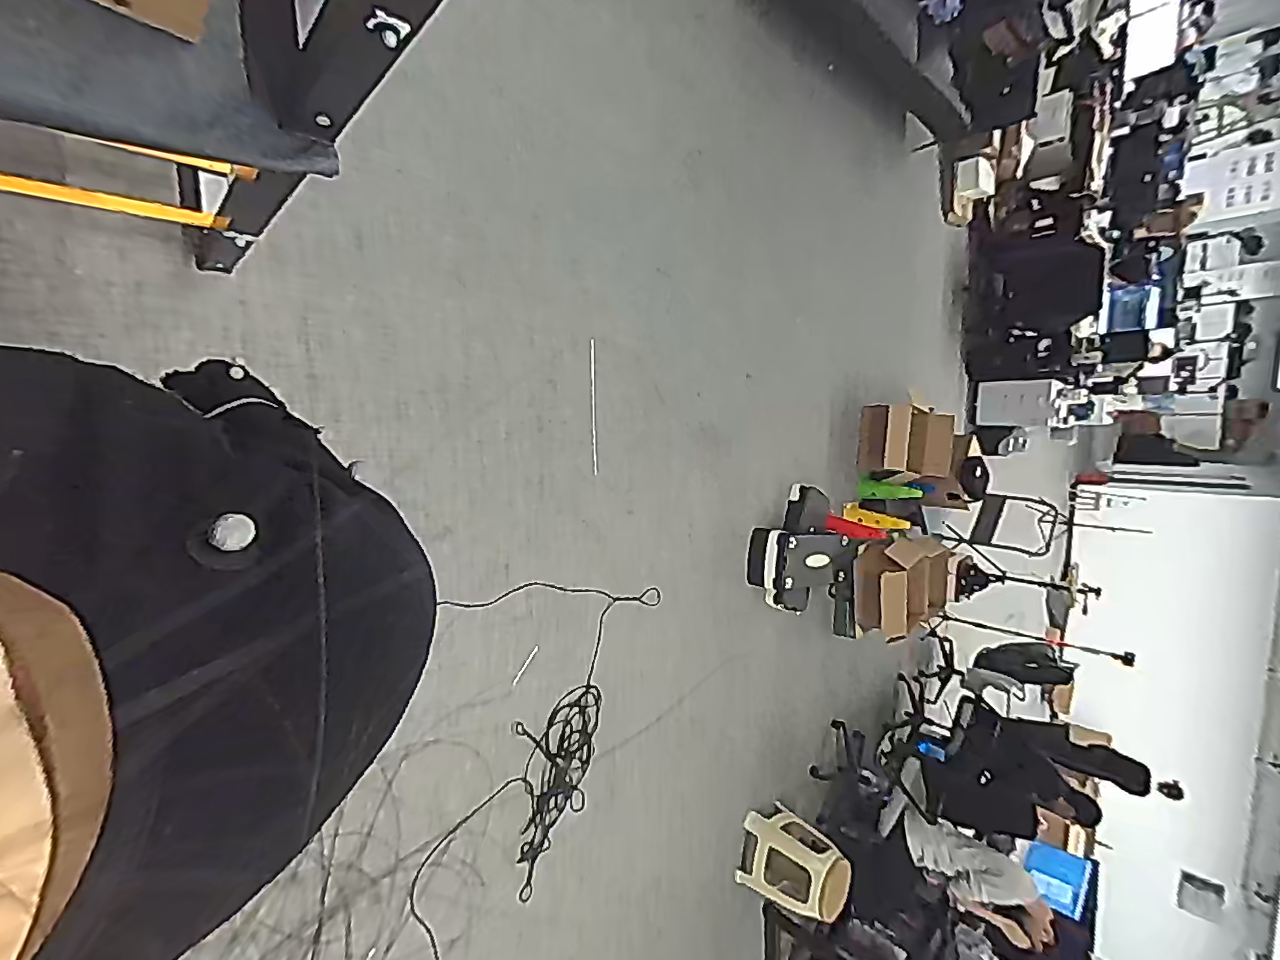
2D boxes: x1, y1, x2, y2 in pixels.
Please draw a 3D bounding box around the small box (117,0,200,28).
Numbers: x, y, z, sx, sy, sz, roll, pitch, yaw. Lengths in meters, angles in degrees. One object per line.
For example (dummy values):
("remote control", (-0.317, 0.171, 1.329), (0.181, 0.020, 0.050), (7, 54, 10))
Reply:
("small box", (-0.482, -0.554, 0.465), (0.168, 0.176, 0.179), (-2, 96, -45))
